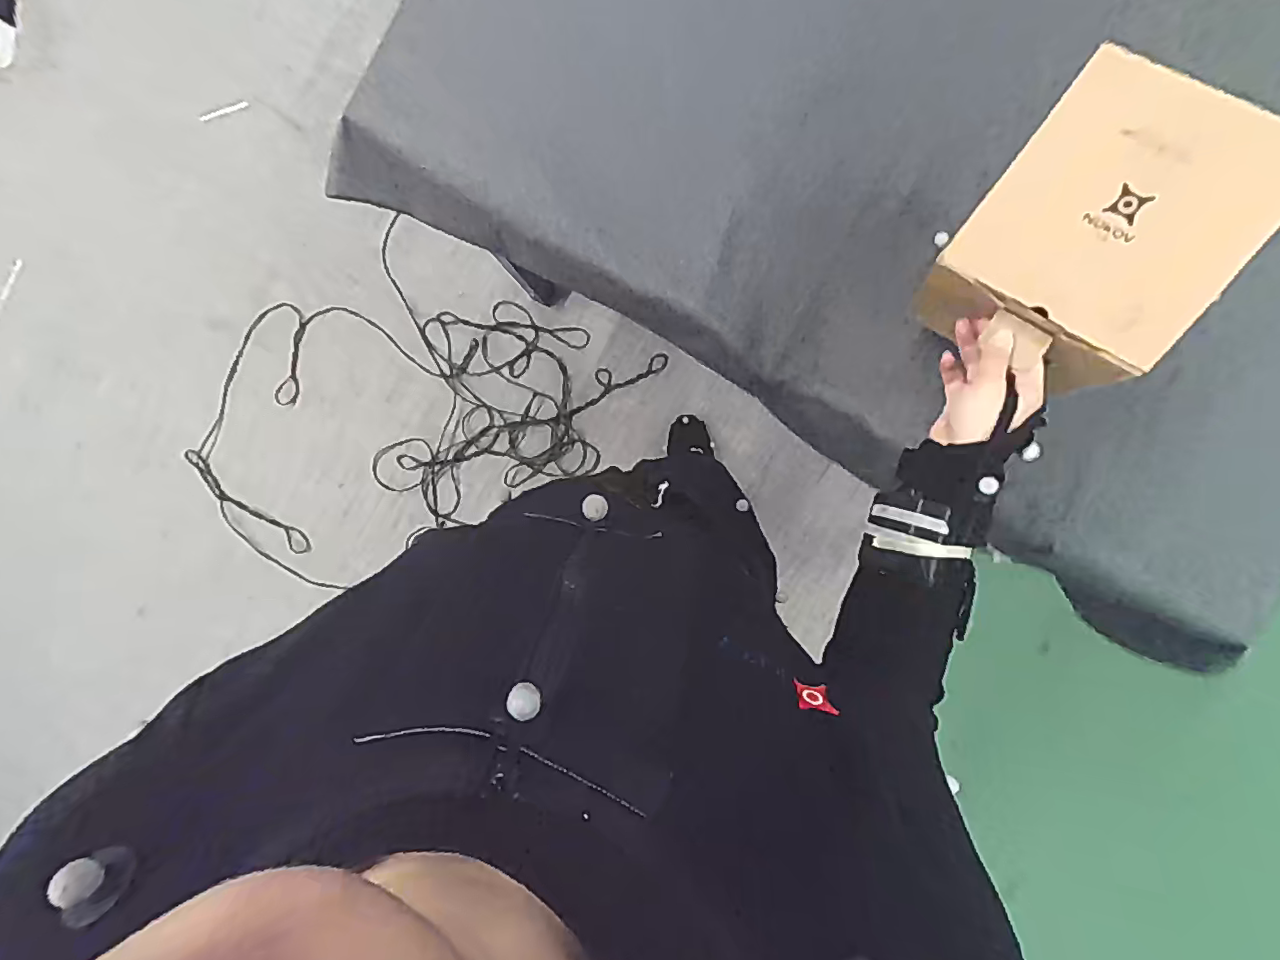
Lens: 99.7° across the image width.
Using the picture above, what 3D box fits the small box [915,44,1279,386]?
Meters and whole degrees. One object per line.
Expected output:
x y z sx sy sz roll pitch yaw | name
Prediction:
0.364 -0.198 0.461 0.168 0.176 0.179 36 102 12 | small box
